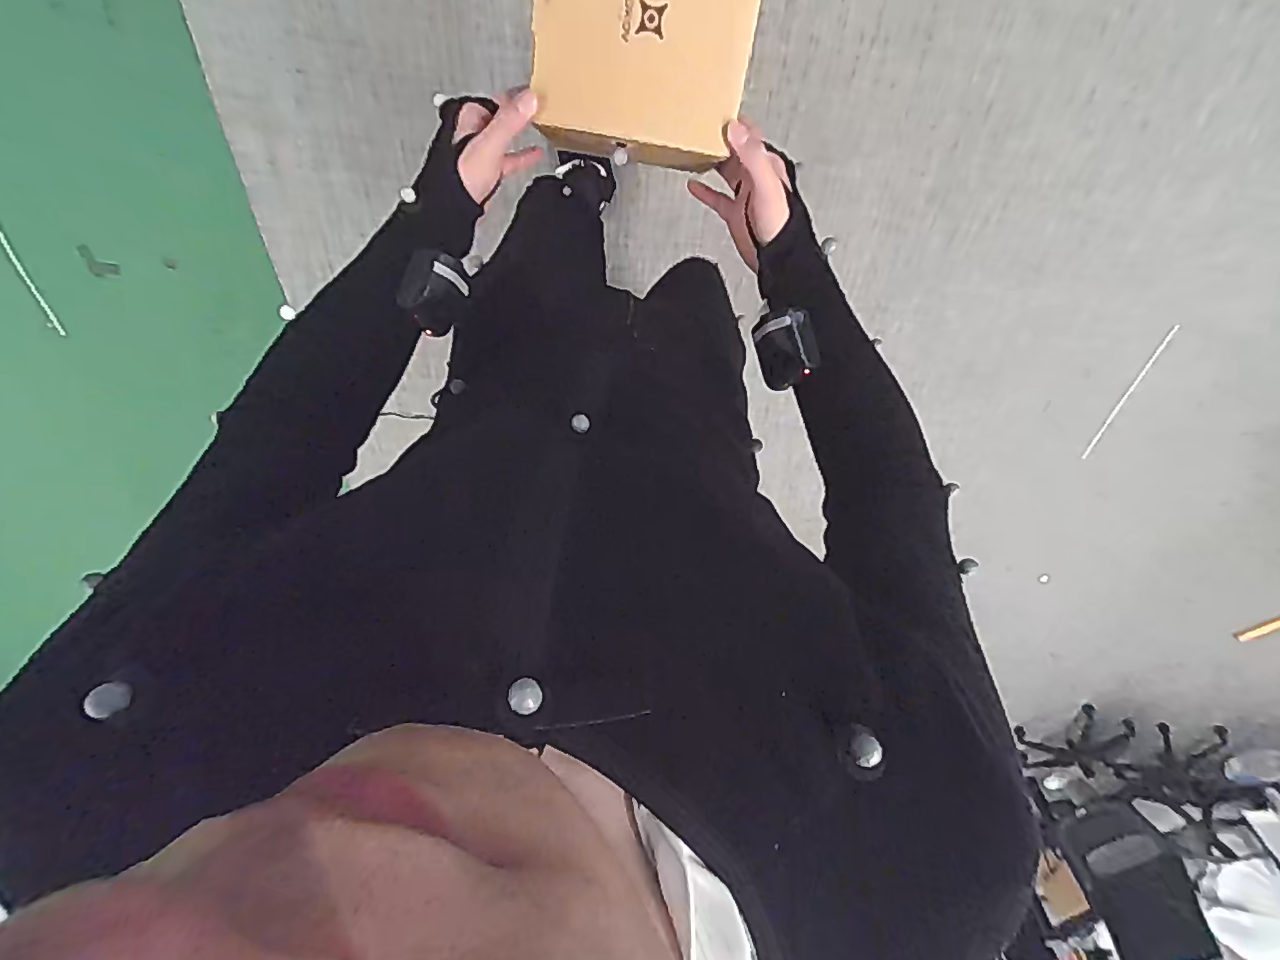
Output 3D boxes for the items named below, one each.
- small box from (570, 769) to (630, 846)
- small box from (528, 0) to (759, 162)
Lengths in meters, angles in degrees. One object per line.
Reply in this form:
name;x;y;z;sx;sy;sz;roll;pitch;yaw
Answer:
small box;-0.126;1.035;1.713;0.179;0.176;0.168;3;130;-2
small box;0.004;-0.403;0.497;0.179;0.176;0.168;8;115;-2
